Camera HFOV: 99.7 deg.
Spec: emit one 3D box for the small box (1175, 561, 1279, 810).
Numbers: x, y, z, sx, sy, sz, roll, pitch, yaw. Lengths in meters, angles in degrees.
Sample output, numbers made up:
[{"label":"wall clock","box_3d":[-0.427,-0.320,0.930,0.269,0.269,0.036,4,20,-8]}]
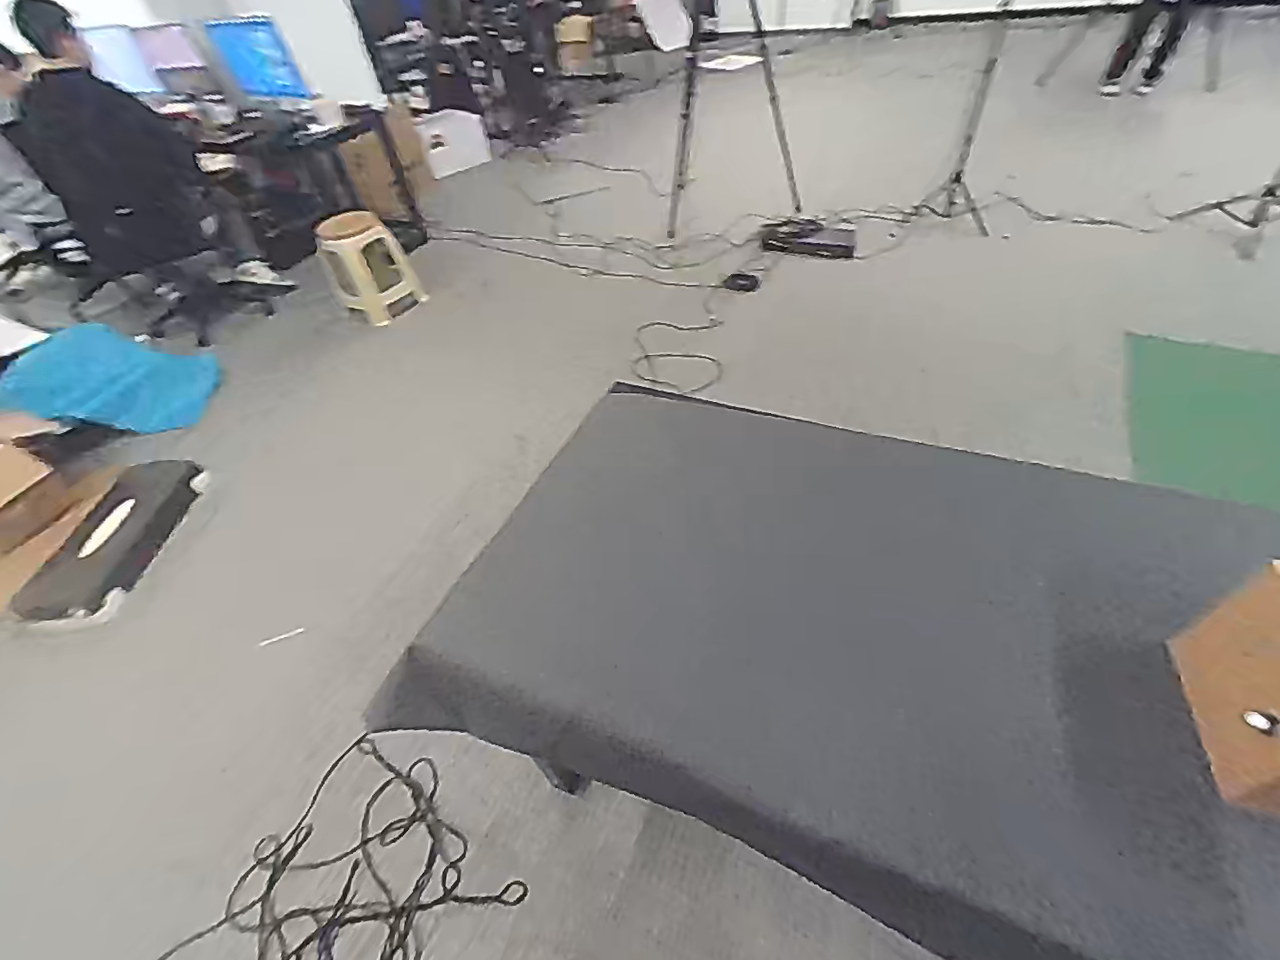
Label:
[{"label":"small box","box_3d":[0.651,0.205,0.487,0.168,0.176,0.179,11,48,16]}]
